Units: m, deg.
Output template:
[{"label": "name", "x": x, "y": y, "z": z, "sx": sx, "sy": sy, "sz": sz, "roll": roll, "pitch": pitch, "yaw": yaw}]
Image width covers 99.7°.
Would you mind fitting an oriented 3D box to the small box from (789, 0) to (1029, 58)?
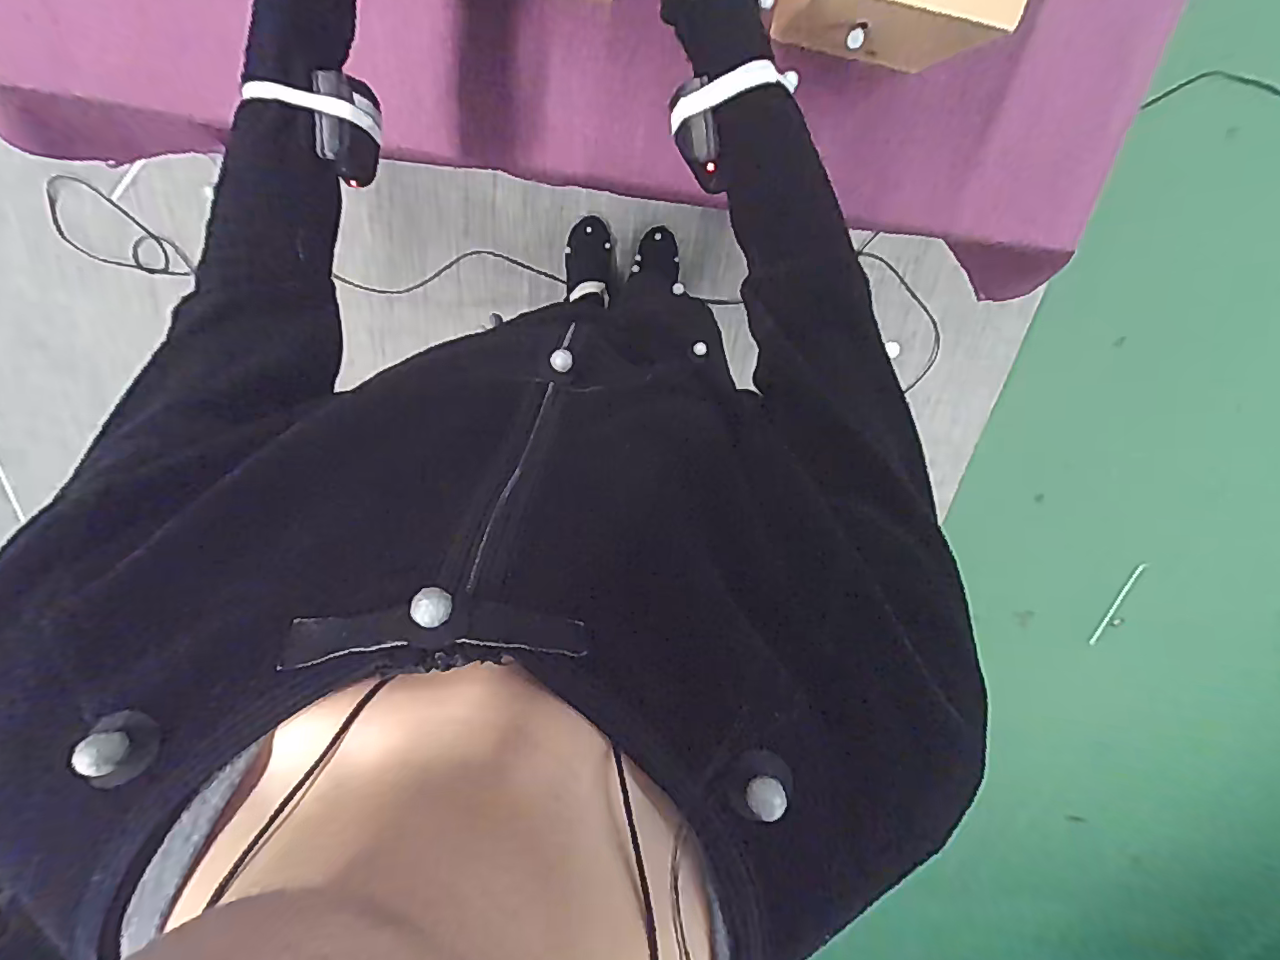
[{"label": "small box", "x": 0.241, "y": -0.495, "z": 0.461, "sx": 0.168, "sy": 0.176, "sz": 0.179, "roll": 8, "pitch": 116, "yaw": -7}]
